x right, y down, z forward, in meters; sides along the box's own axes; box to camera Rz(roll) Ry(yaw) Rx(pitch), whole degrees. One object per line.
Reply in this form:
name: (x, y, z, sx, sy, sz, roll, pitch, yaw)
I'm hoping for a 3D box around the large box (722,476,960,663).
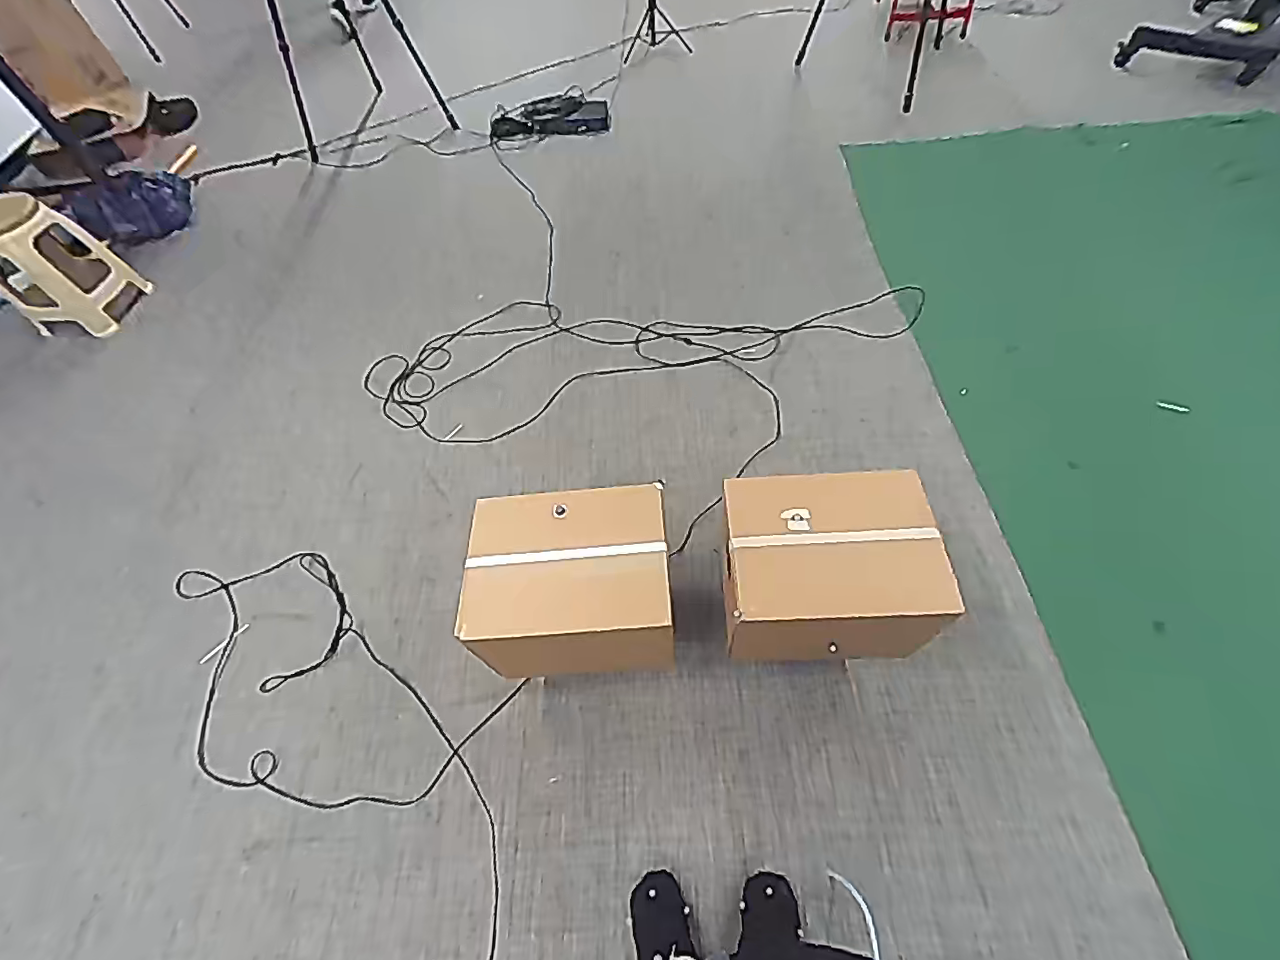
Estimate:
large box: (0.401, 0.212, 1.202, 0.408, 0.320, 0.320, -3, 57, 4)
